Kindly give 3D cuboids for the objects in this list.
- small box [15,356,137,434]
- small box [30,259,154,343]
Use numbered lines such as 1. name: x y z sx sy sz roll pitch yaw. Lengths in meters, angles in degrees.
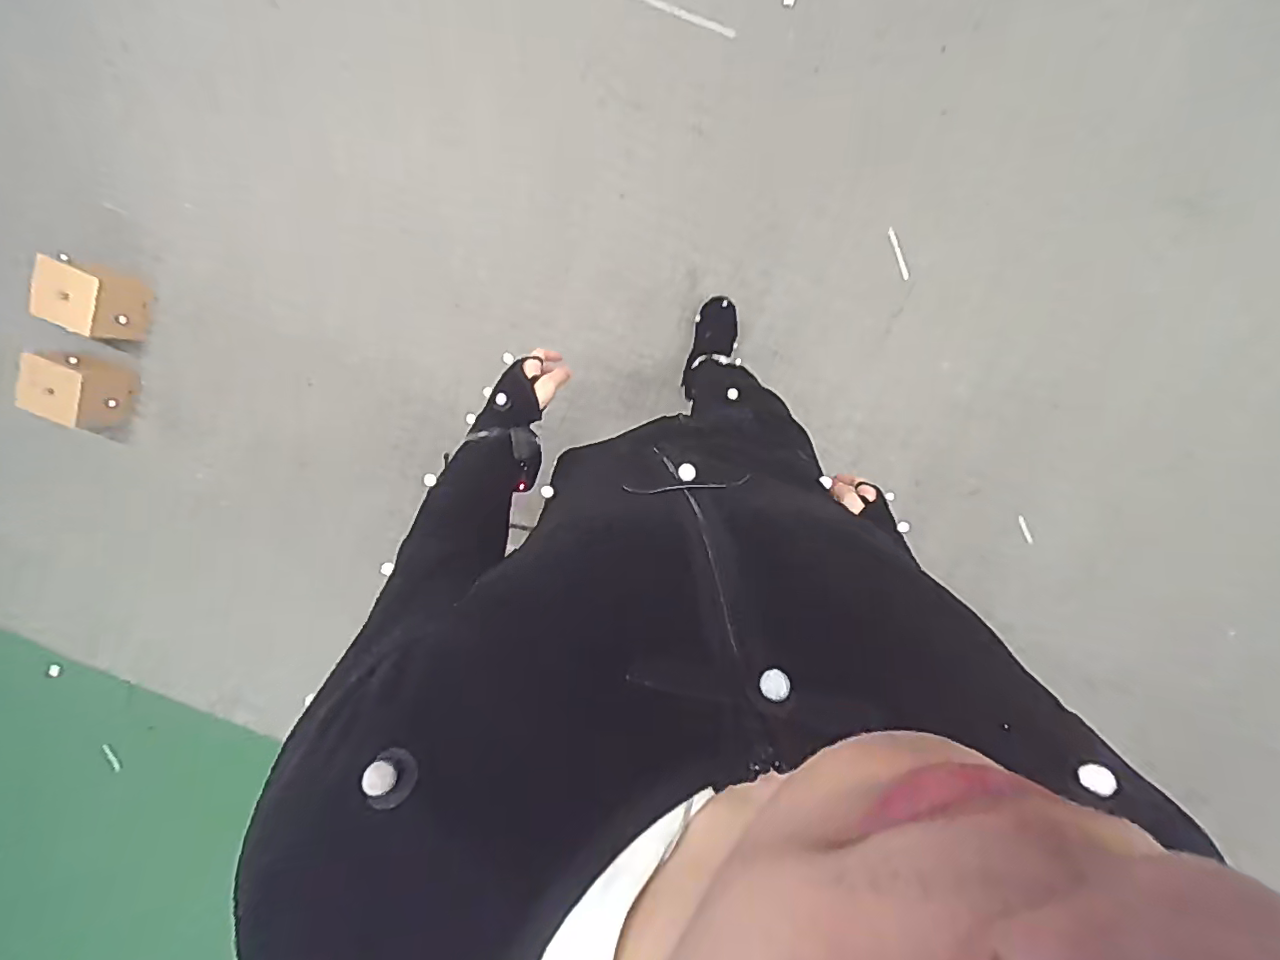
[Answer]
1. small box: -1.626 -0.251 1.569 0.179 0.176 0.168 23 101 -1
2. small box: -1.528 -0.494 1.517 0.179 0.176 0.168 23 102 -1
